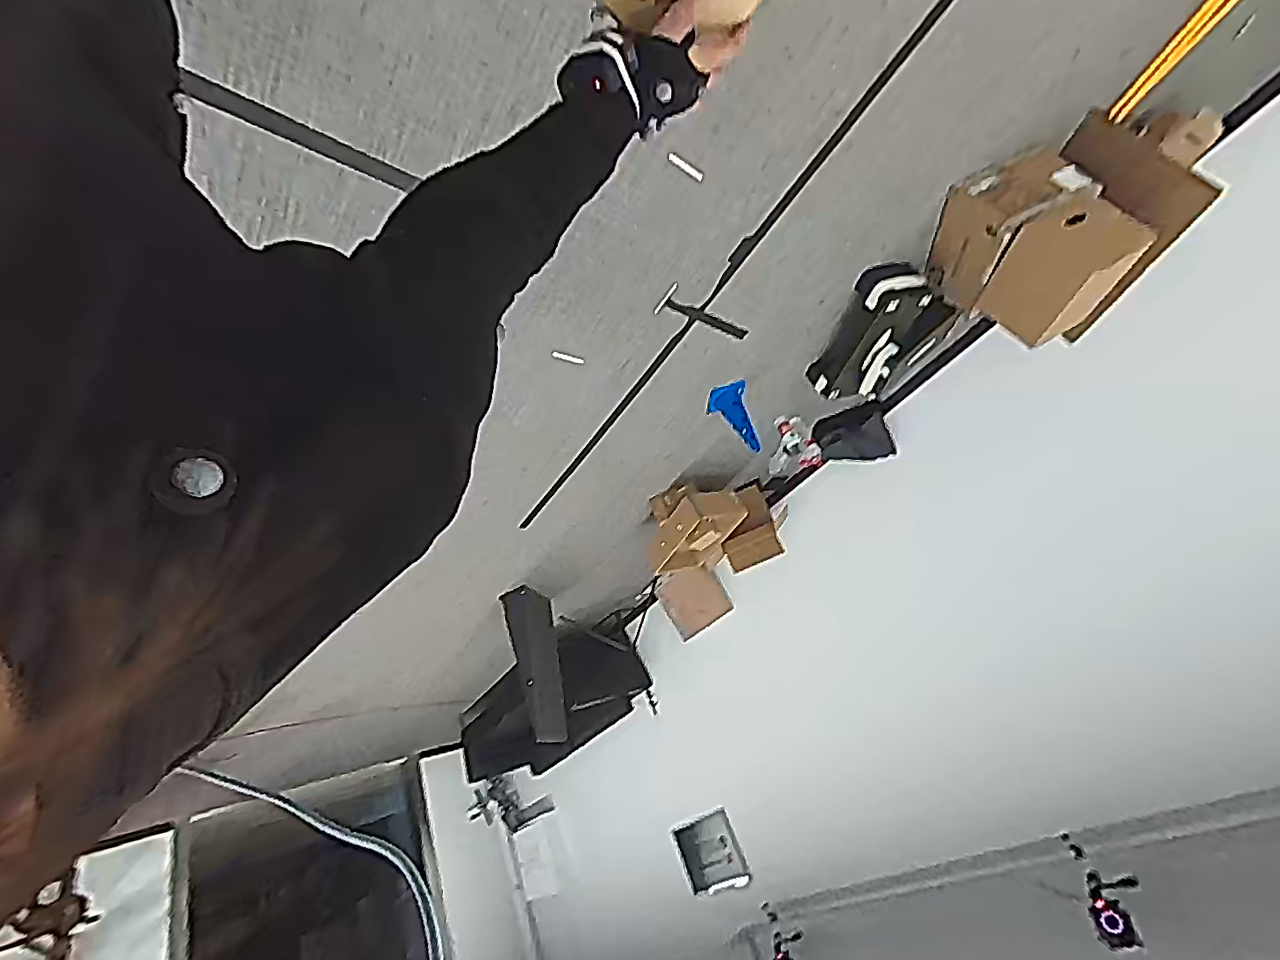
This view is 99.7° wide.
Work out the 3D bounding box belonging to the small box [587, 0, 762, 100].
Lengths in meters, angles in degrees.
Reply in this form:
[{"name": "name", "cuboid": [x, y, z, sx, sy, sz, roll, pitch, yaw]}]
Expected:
[{"name": "small box", "cuboid": [0.023, -0.557, 0.554, 0.168, 0.176, 0.179, 13, 133, -47]}]
